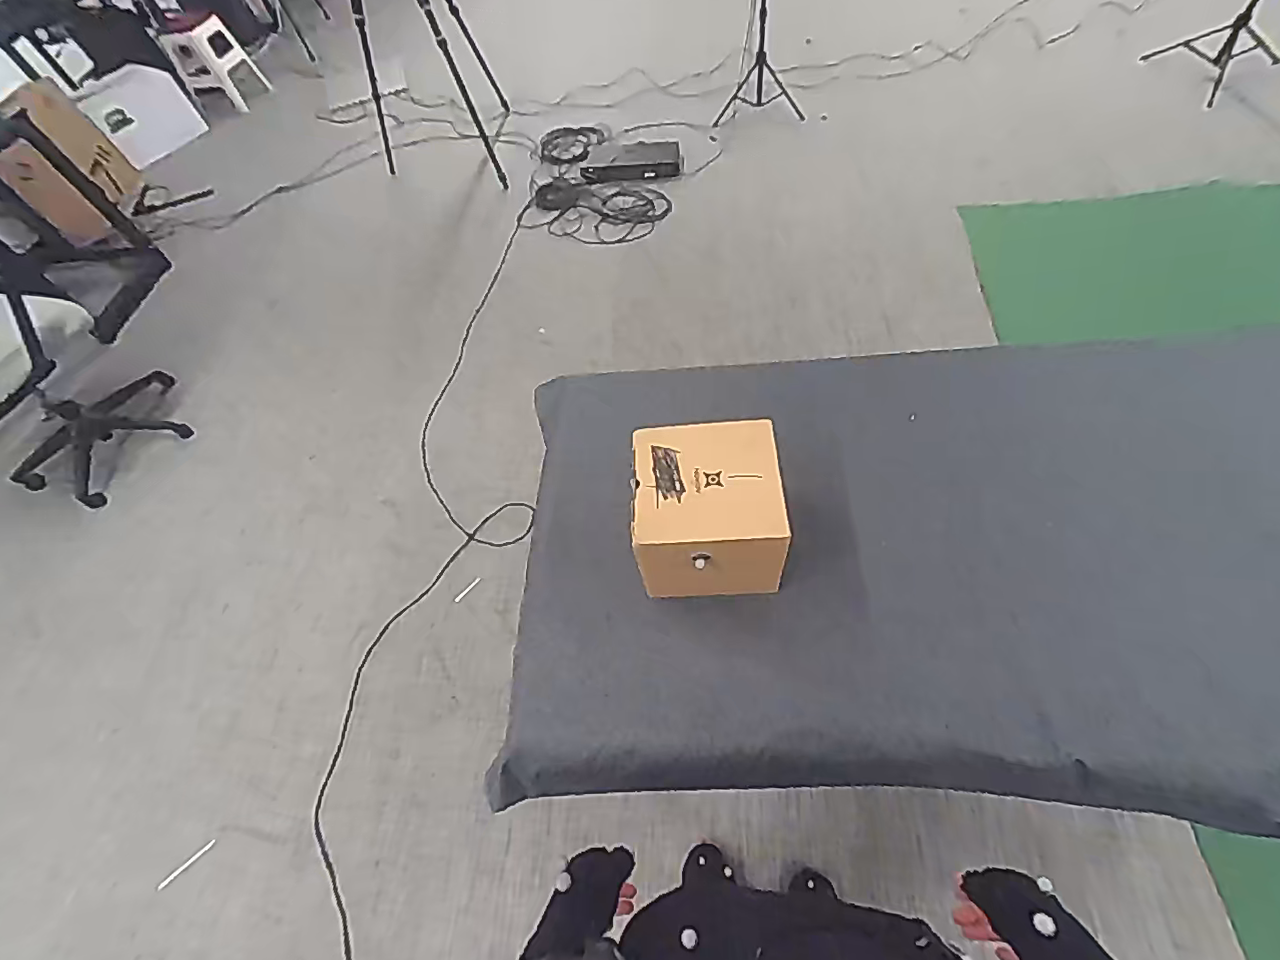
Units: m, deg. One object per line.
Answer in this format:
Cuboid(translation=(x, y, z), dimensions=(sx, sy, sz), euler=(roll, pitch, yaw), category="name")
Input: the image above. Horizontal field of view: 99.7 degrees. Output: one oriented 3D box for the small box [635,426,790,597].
Cuboid(translation=(0.092, 0.048, 0.712), dimensions=(0.179, 0.176, 0.168), euler=(-3, 57, 6), category="small box")
